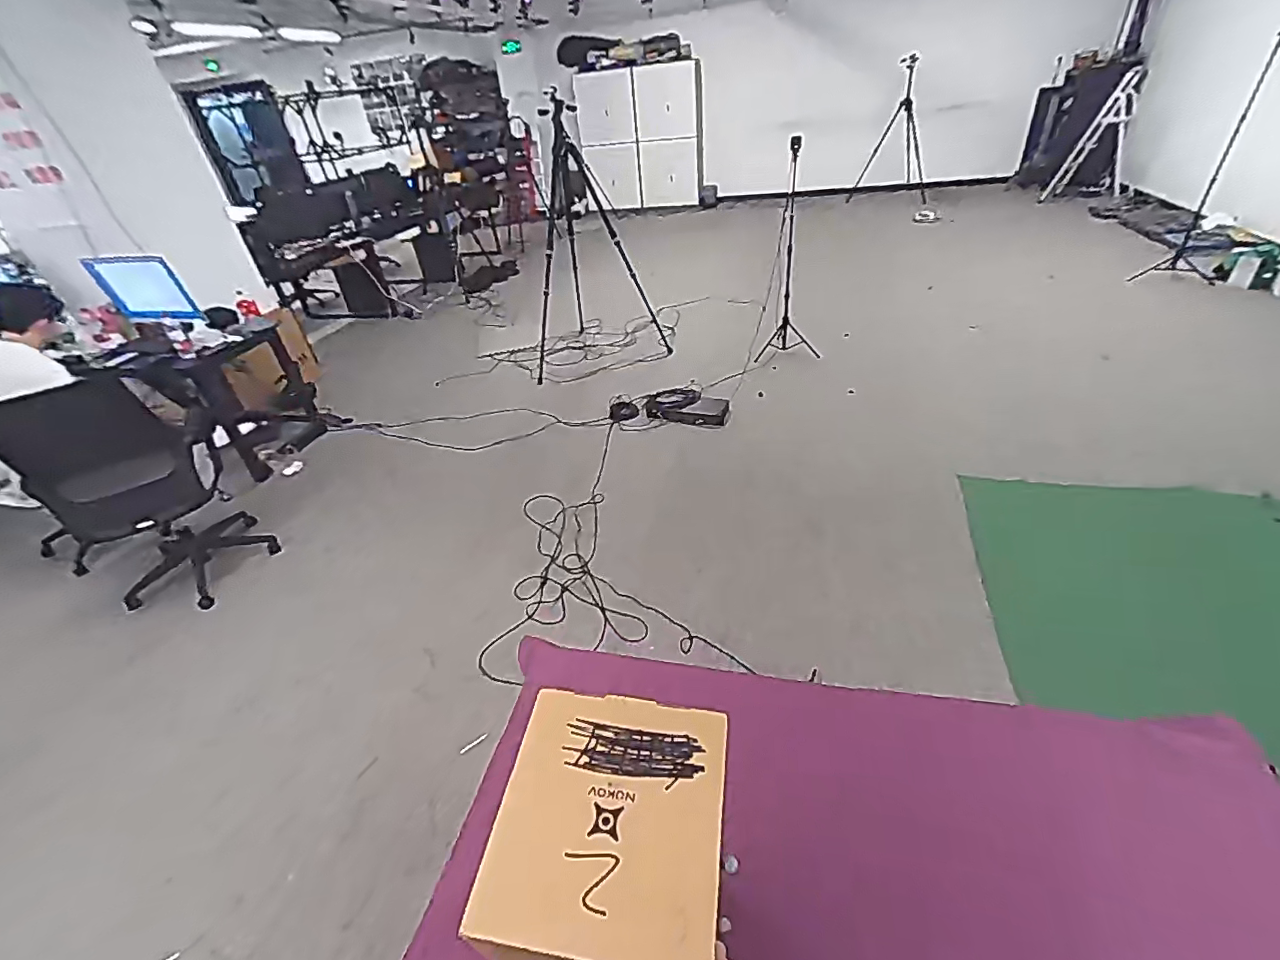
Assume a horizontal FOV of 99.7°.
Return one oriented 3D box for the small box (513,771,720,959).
[{"bbox_3d":[-0.009,0.430,0.542,0.168,0.176,0.179,4,39,10],"label":"small box"}]
